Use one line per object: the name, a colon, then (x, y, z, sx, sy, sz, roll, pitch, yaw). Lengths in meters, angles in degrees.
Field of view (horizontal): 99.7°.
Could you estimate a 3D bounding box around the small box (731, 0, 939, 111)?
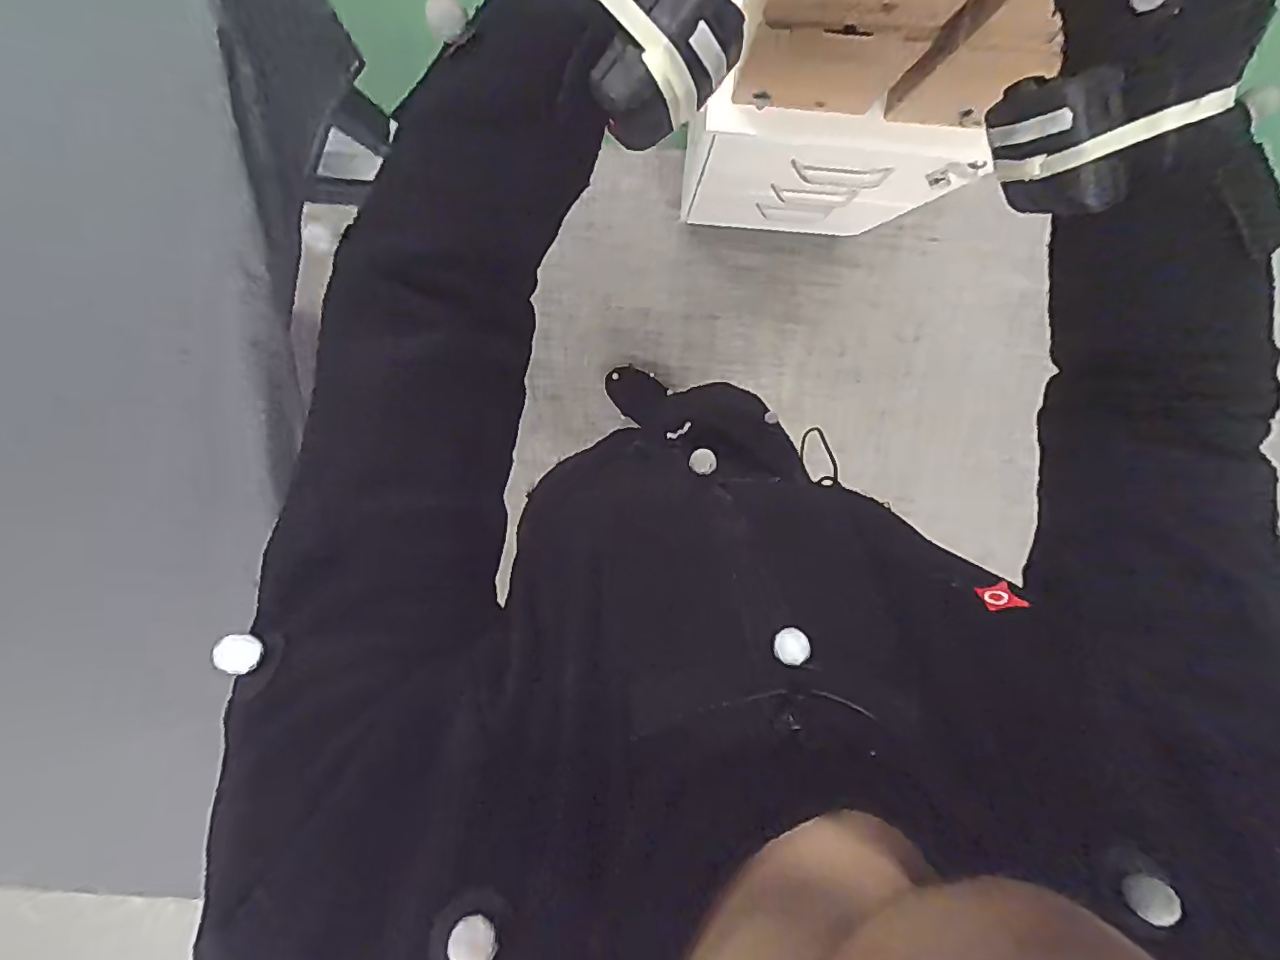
small box: (0.193, -0.509, 0.549, 0.168, 0.176, 0.179, 5, 104, -2)
